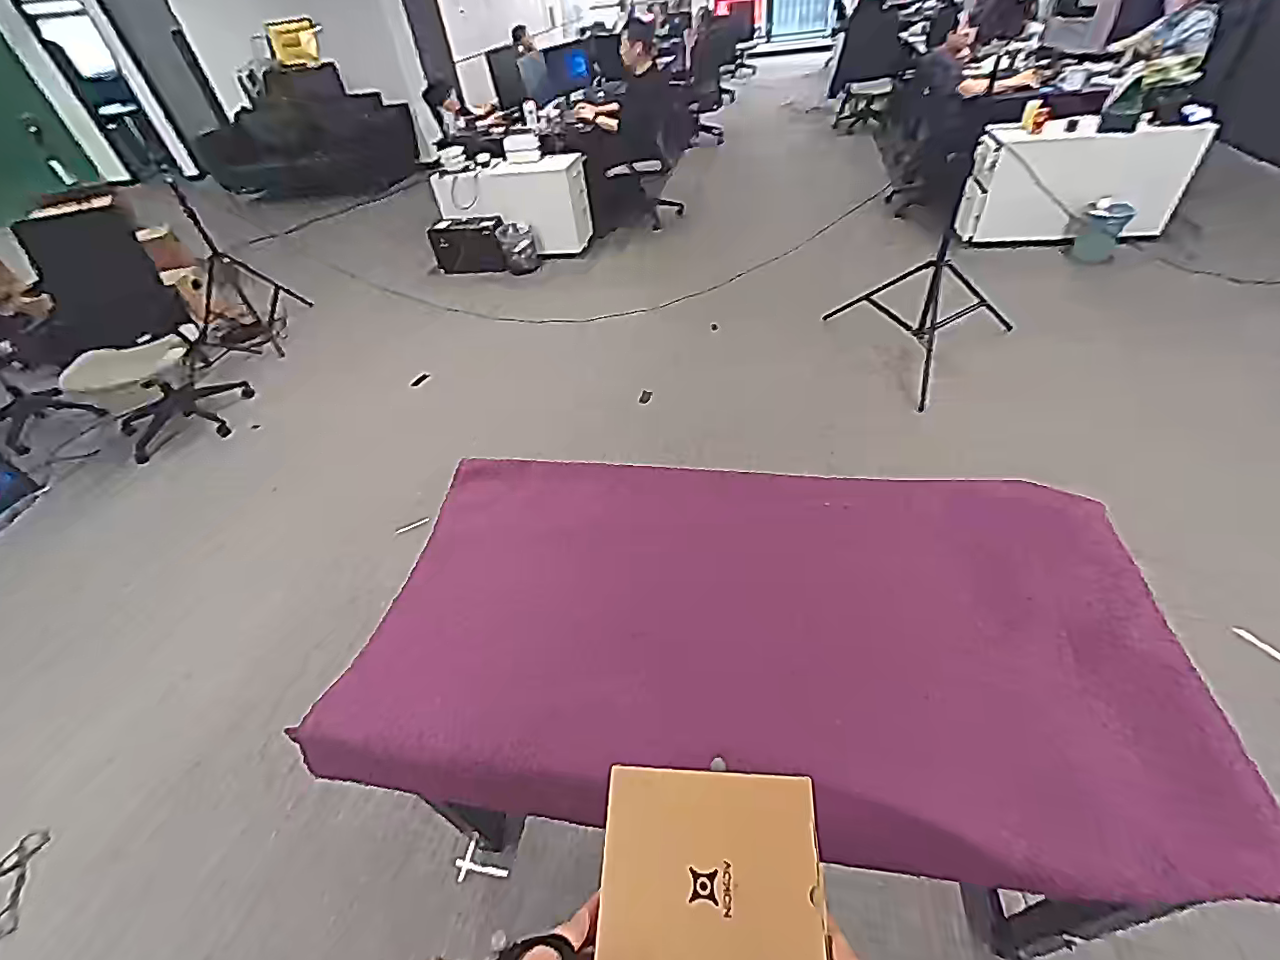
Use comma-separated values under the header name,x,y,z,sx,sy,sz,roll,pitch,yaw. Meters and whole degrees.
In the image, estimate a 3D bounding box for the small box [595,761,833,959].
name,x,y,z,sx,sy,sz,roll,pitch,yaw
small box,0.065,0.367,0.487,0.179,0.176,0.168,-1,51,7
